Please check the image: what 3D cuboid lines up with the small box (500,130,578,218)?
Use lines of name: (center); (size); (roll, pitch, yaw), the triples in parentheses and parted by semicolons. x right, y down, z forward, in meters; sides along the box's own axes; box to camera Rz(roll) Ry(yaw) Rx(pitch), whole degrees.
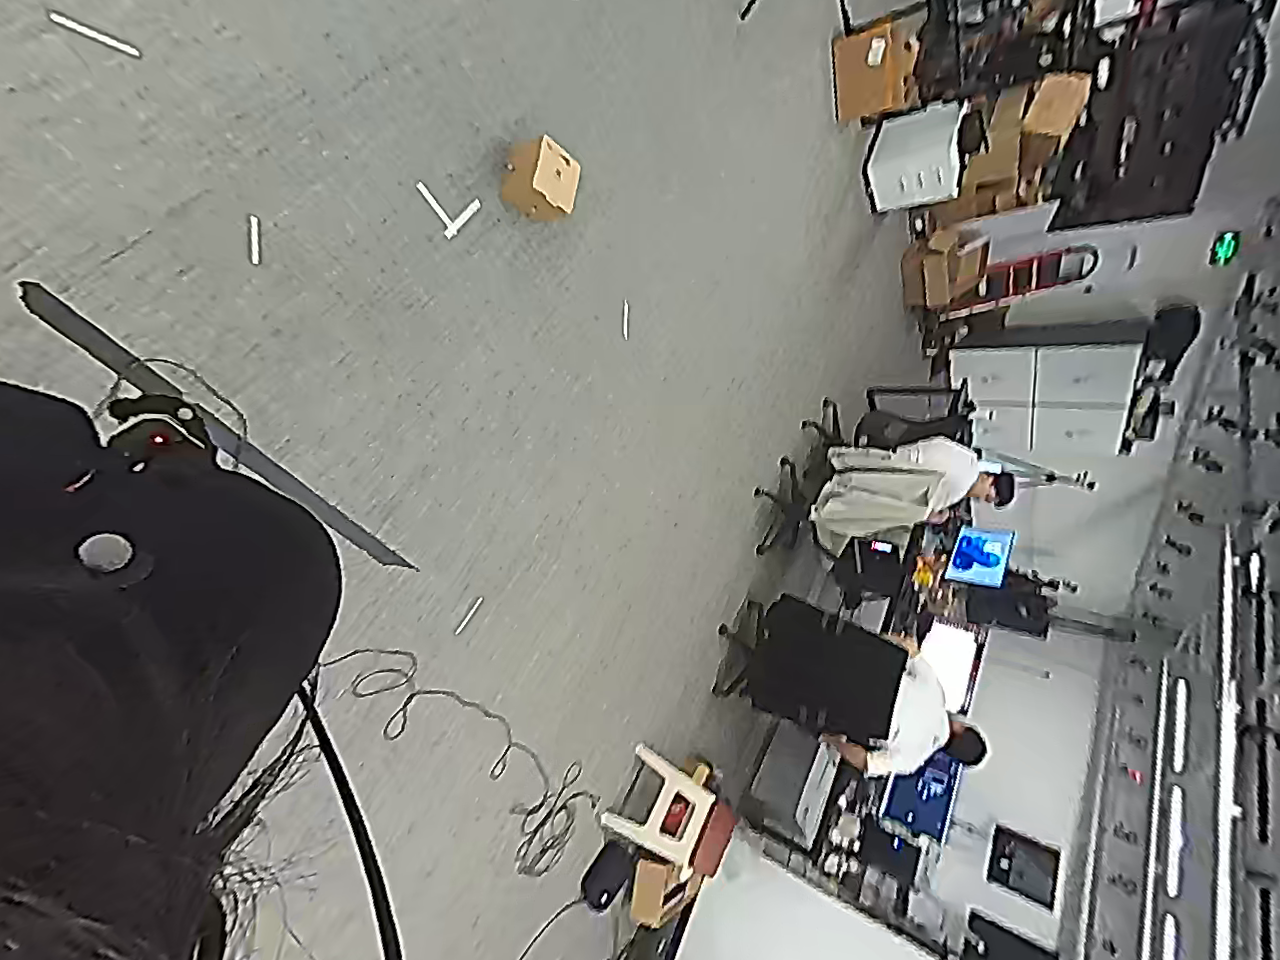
small box: (-0.331, -0.981, 1.753); (0.168, 0.176, 0.179); (17, 85, -51)
